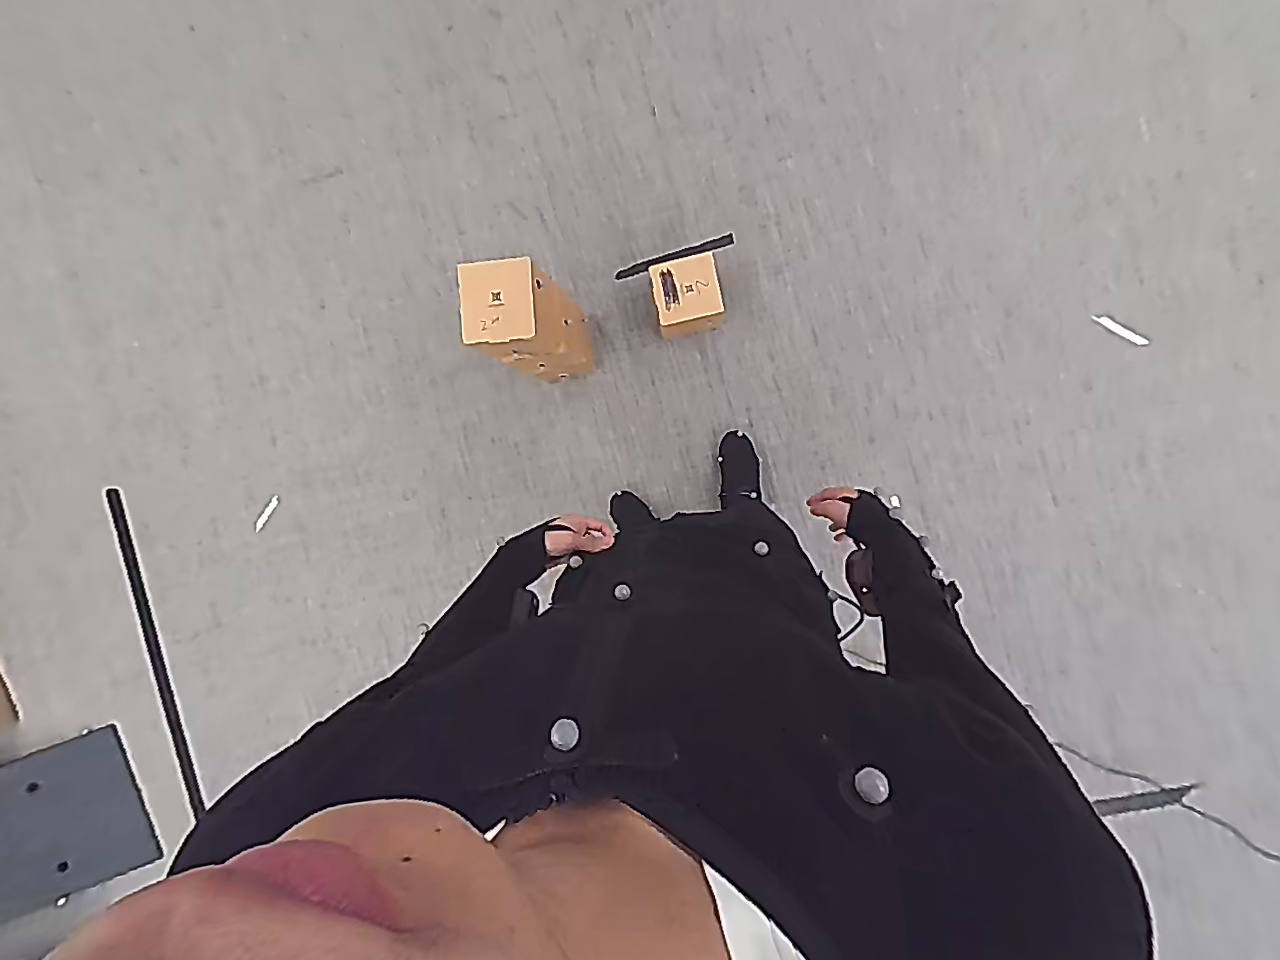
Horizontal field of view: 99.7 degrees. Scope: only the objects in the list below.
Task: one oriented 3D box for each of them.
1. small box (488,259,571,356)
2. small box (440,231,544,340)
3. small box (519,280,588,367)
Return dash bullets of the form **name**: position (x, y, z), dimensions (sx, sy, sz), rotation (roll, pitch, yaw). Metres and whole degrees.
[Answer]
- **small box**: position (-0.278, -0.416, 1.332), dimensions (0.168, 0.176, 0.179), rotation (-9, 93, 7)
- **small box**: position (-0.314, -0.412, 1.170), dimensions (0.168, 0.176, 0.179), rotation (-3, 94, 7)
- **small box**: position (-0.251, -0.424, 1.491), dimensions (0.168, 0.176, 0.179), rotation (-12, 92, 7)
